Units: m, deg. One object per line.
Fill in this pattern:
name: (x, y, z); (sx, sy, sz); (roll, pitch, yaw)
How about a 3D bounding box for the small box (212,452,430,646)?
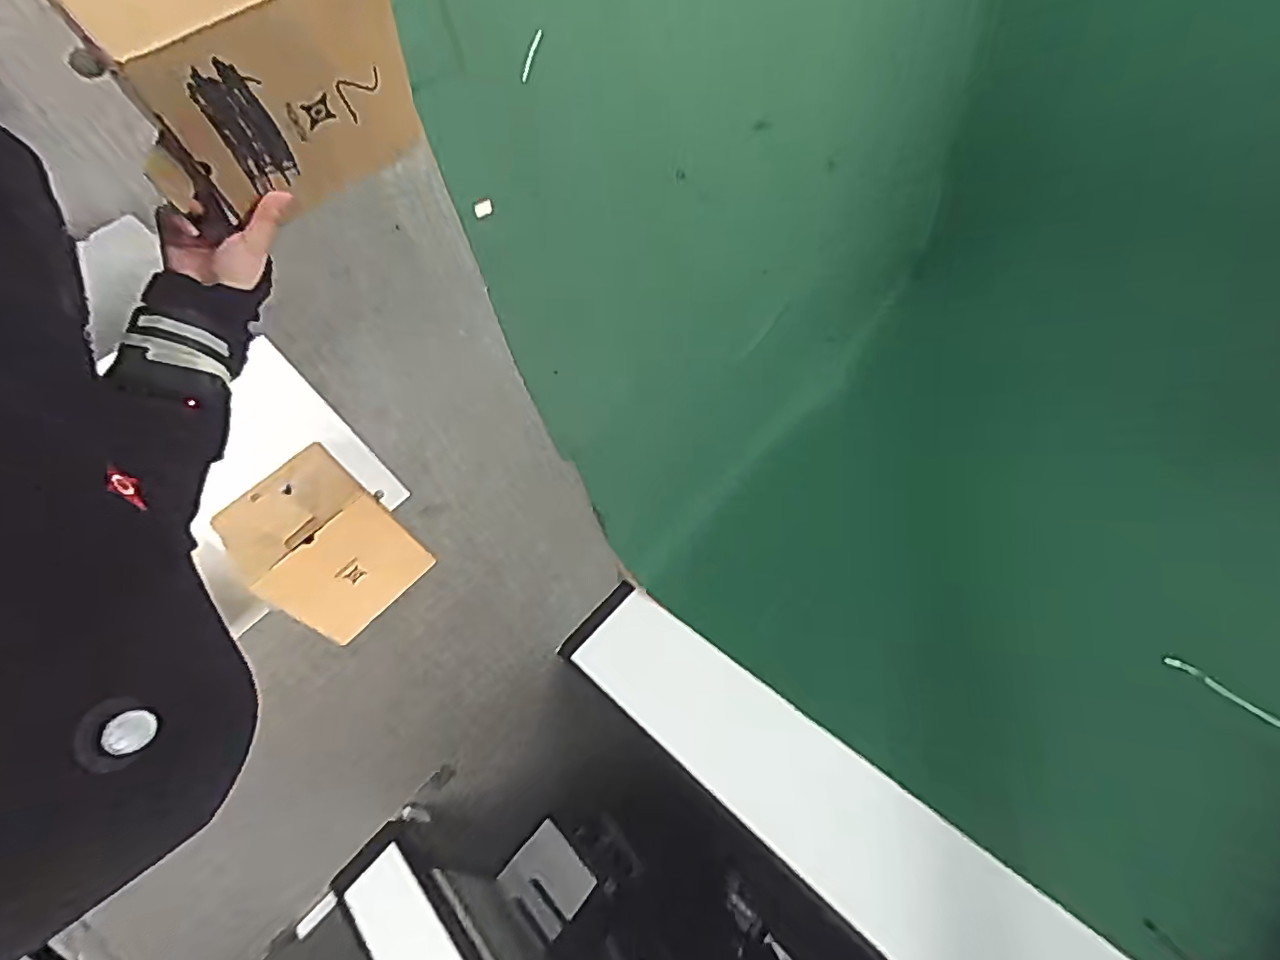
small box: (-0.438, 0.091, 0.753); (0.168, 0.176, 0.179); (-45, 142, -19)
